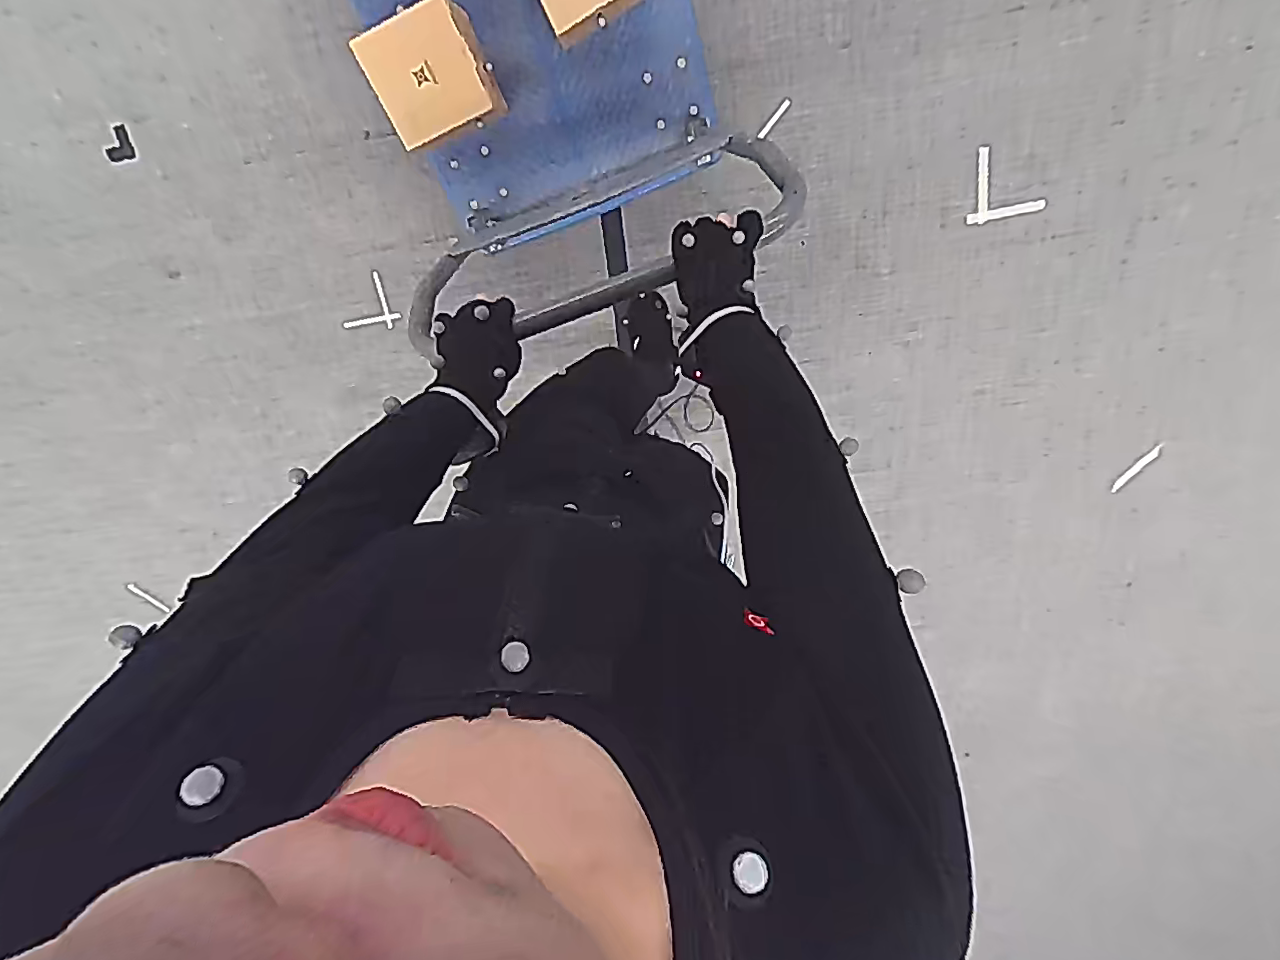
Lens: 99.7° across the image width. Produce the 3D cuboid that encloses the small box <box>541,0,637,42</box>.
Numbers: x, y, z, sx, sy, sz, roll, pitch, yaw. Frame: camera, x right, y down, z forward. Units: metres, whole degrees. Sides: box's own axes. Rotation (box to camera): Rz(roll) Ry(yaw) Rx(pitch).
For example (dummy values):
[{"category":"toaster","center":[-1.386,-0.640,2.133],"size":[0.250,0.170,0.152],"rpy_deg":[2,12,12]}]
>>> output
[{"category":"small box","center":[-0.095,-0.861,0.885],"size":[0.179,0.176,0.168],"rpy_deg":[-24,121,13]}]

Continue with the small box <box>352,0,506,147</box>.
[{"category":"small box","center":[-0.362,-0.716,0.965],"size":[0.179,0.176,0.168],"rpy_deg":[-22,120,8]}]
